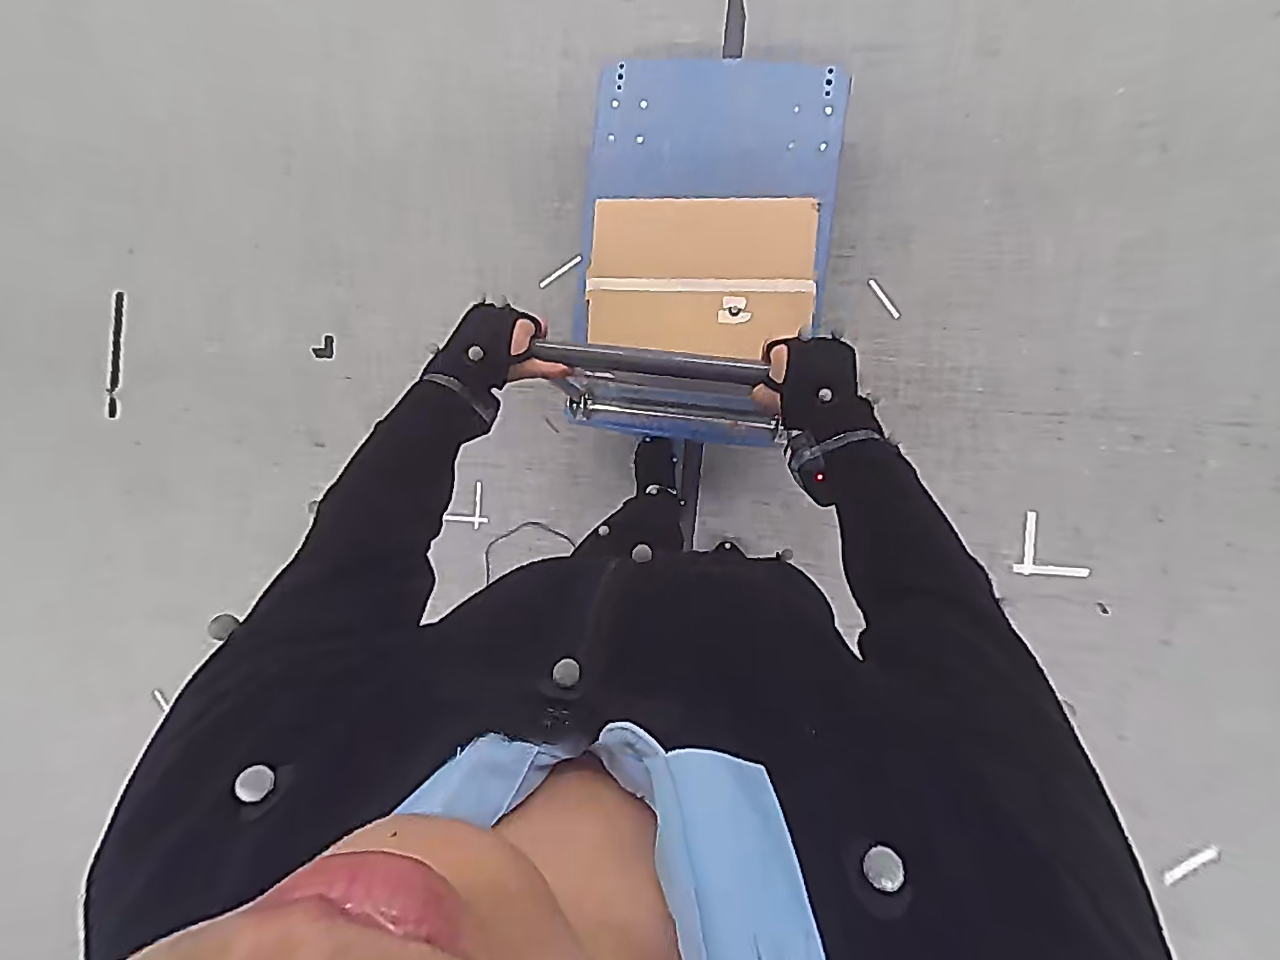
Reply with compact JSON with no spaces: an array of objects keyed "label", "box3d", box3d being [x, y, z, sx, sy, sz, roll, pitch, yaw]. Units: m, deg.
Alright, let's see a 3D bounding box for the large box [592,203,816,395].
[{"label":"large box","box3d":[0.127,-0.355,1.138,0.408,0.320,0.320,3,93,6]}]
